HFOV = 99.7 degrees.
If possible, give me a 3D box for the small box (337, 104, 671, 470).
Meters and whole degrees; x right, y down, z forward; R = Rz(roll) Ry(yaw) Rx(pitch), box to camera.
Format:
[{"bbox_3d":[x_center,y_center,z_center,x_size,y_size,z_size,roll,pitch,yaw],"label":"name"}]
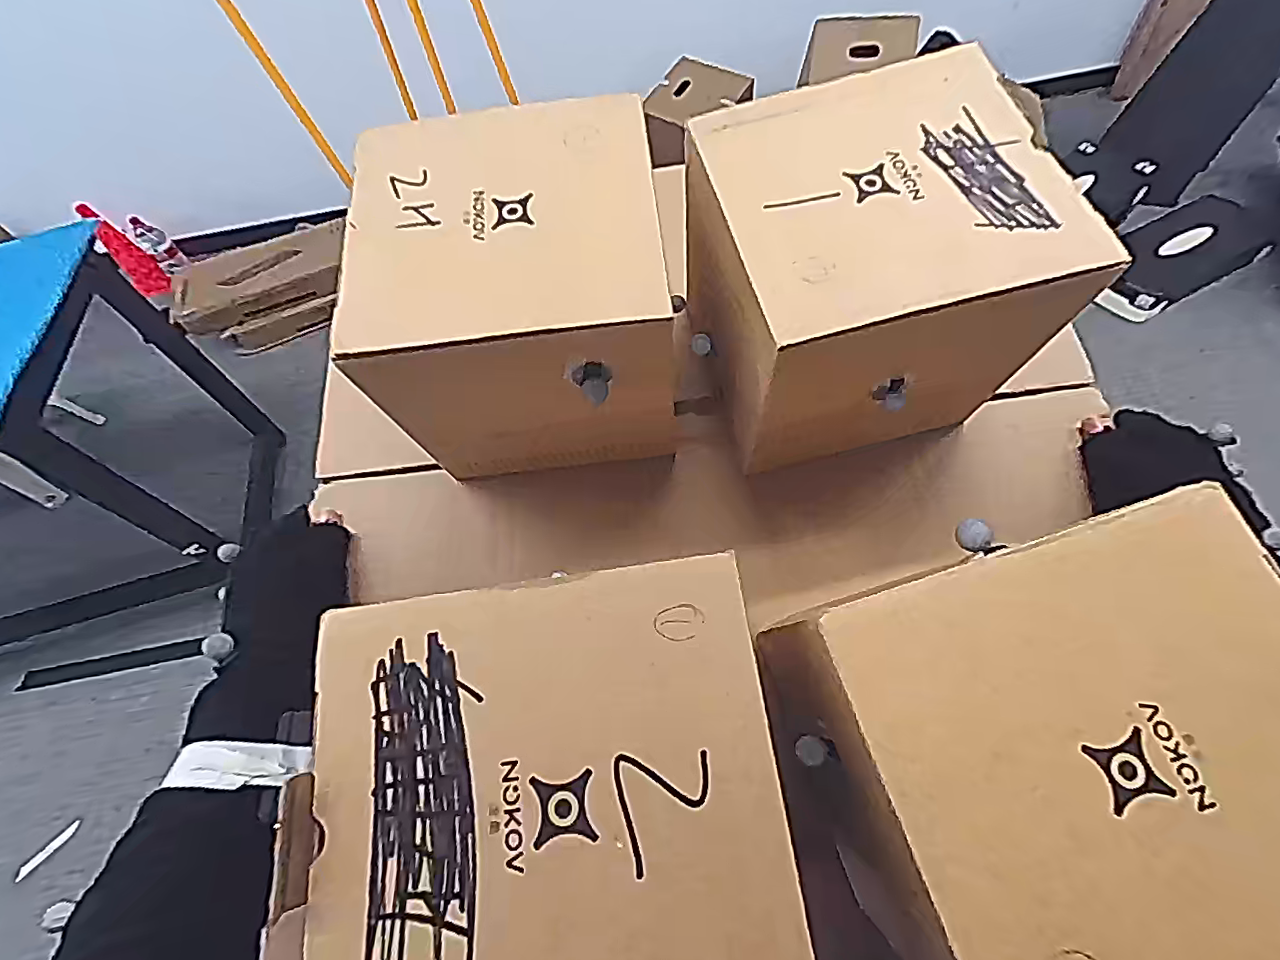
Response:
[{"bbox_3d":[-0.072,-0.117,0.380,0.179,0.176,0.168,-6,68,2],"label":"small box"}]
